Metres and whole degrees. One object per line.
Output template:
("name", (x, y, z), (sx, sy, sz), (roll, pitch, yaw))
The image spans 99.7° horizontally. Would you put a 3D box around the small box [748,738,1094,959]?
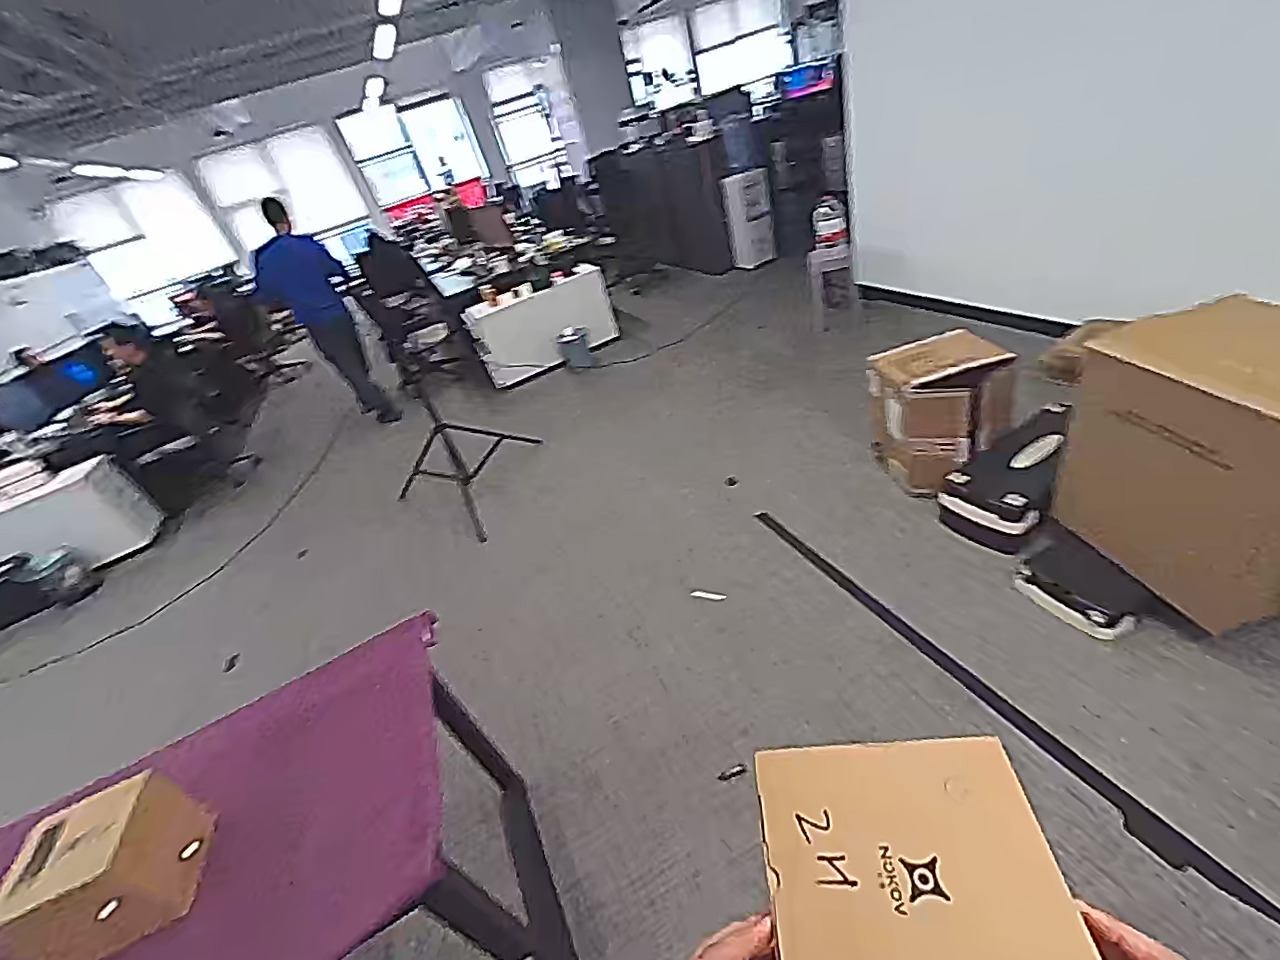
("small box", (0.179, 0.306, 0.384), (0.179, 0.176, 0.168), (-9, 39, 10))
